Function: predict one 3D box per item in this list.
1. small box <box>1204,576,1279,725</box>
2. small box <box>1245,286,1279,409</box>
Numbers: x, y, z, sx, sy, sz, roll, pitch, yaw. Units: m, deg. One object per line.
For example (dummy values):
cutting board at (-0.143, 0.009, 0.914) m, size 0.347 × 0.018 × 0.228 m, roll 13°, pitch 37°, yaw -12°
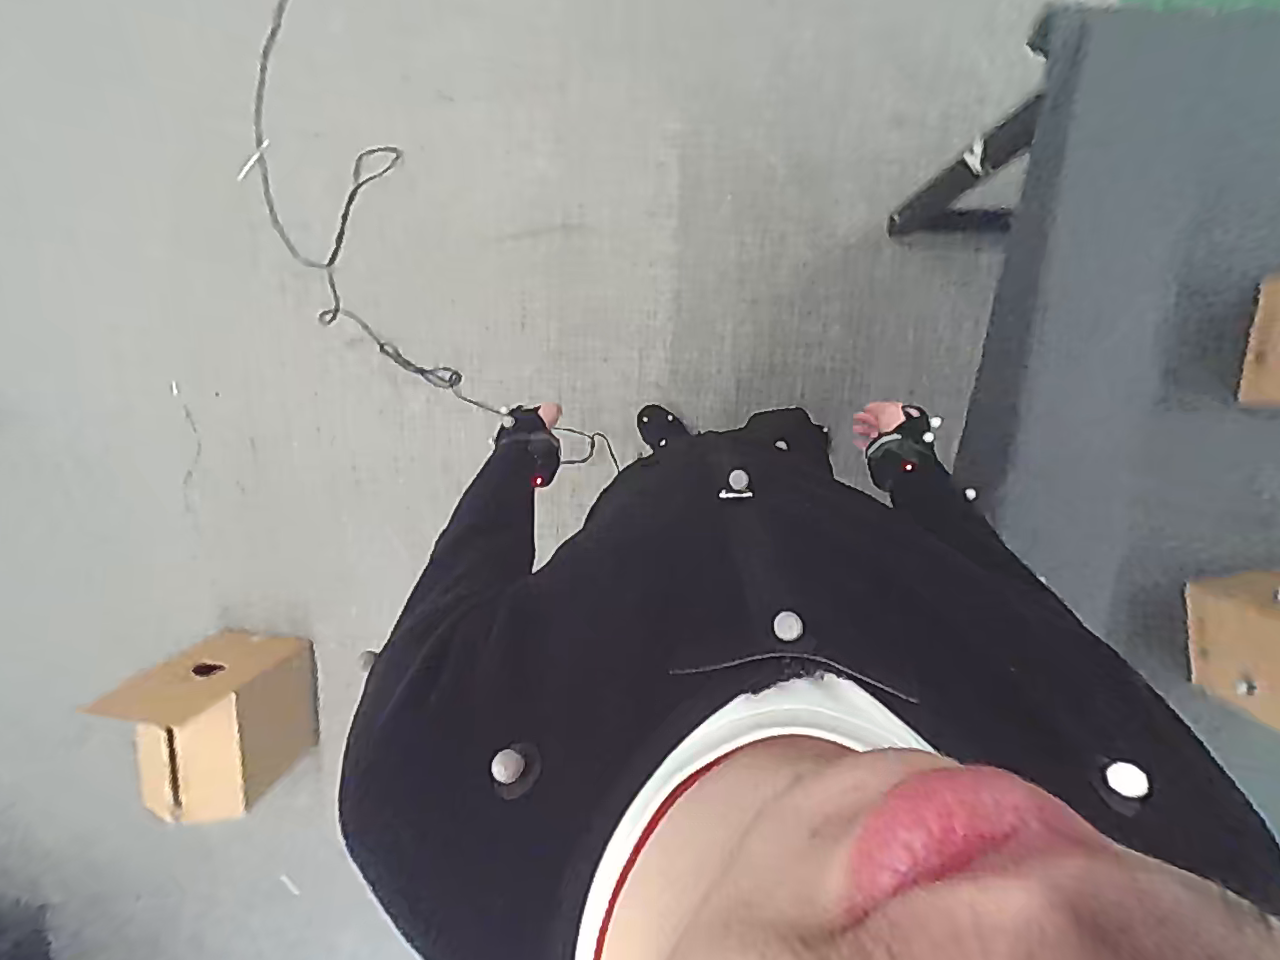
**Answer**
small box at (0.901, 0.230, 0.704) m, size 0.179 × 0.176 × 0.168 m, roll -10°, pitch 101°, yaw 6°
small box at (0.912, -0.171, 0.655) m, size 0.179 × 0.176 × 0.168 m, roll -1°, pitch 98°, yaw 5°
